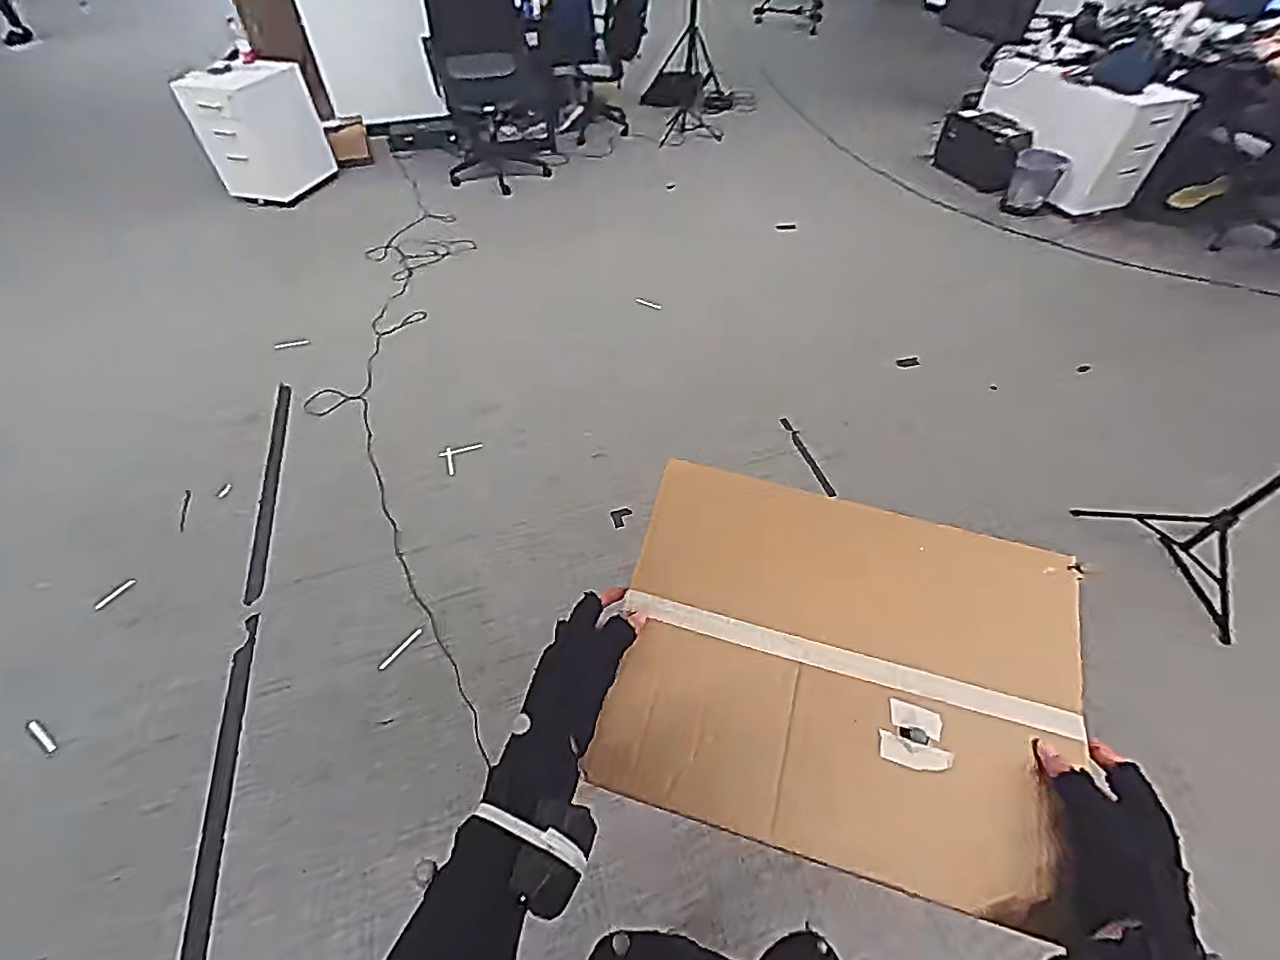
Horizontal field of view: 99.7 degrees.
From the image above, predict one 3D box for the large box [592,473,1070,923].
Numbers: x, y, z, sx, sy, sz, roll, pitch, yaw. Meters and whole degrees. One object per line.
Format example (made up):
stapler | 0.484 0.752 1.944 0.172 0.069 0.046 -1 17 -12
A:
large box | 0.188 0.230 0.642 0.408 0.320 0.320 14 68 8
